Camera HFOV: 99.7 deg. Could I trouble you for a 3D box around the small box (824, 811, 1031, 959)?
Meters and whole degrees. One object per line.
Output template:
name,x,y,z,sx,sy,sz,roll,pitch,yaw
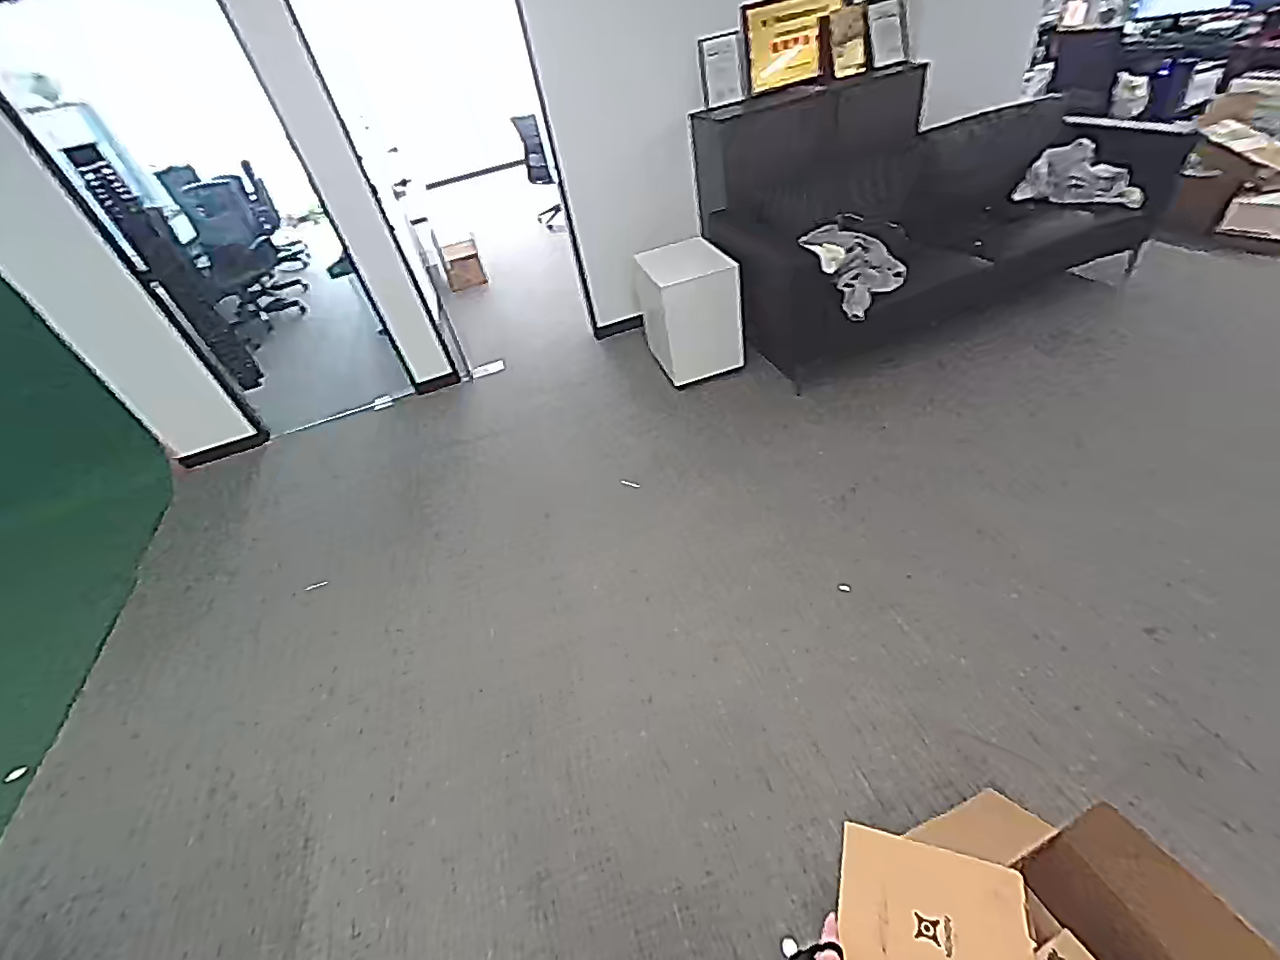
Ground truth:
small box,0.296,0.503,0.574,0.179,0.176,0.168,4,31,25
